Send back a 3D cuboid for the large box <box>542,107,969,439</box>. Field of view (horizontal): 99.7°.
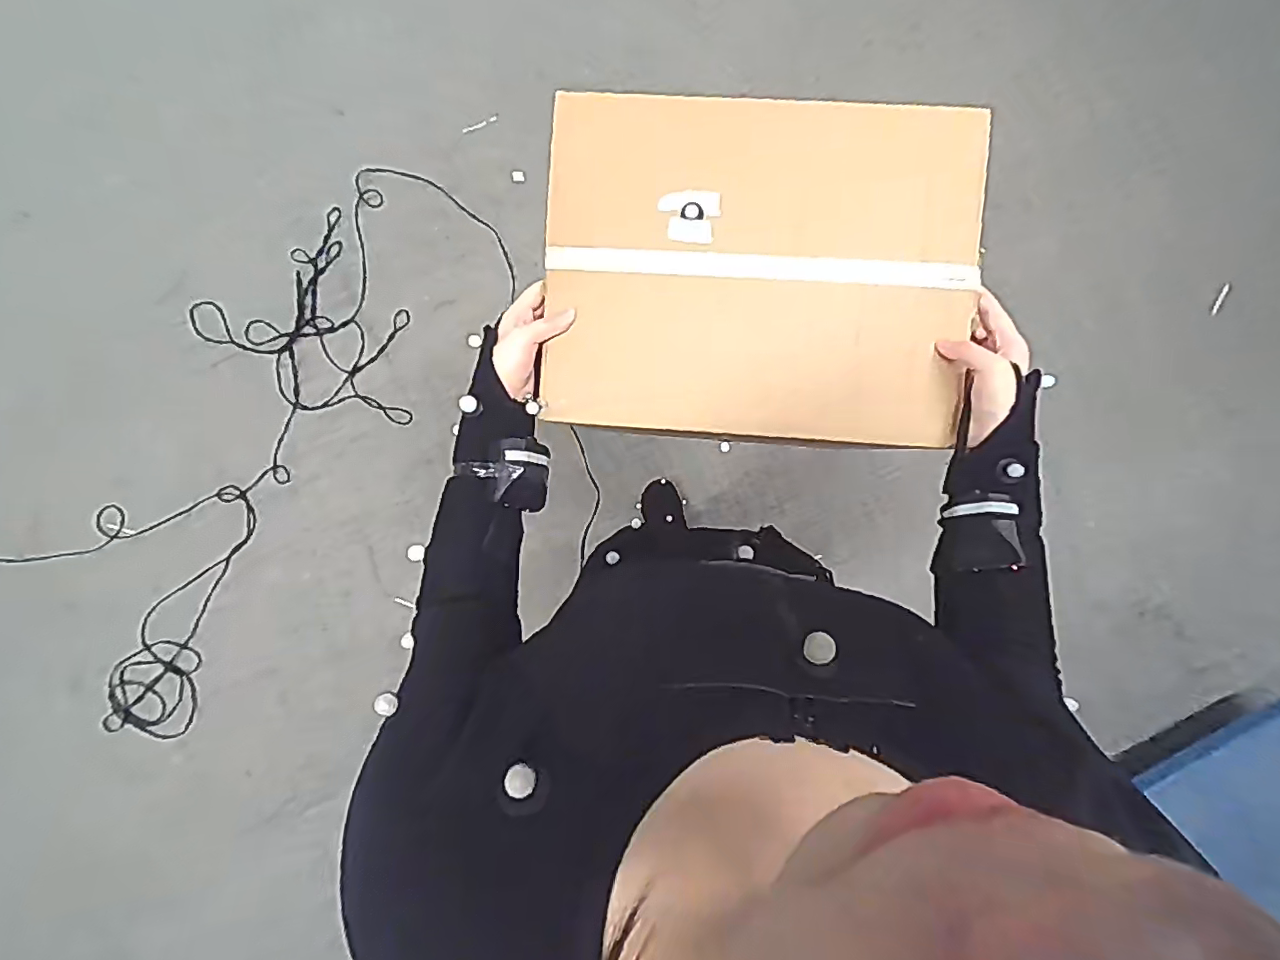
[{"bbox_3d":[0.116,-0.215,0.675,0.408,0.320,0.320,4,94,4],"label":"large box"}]
